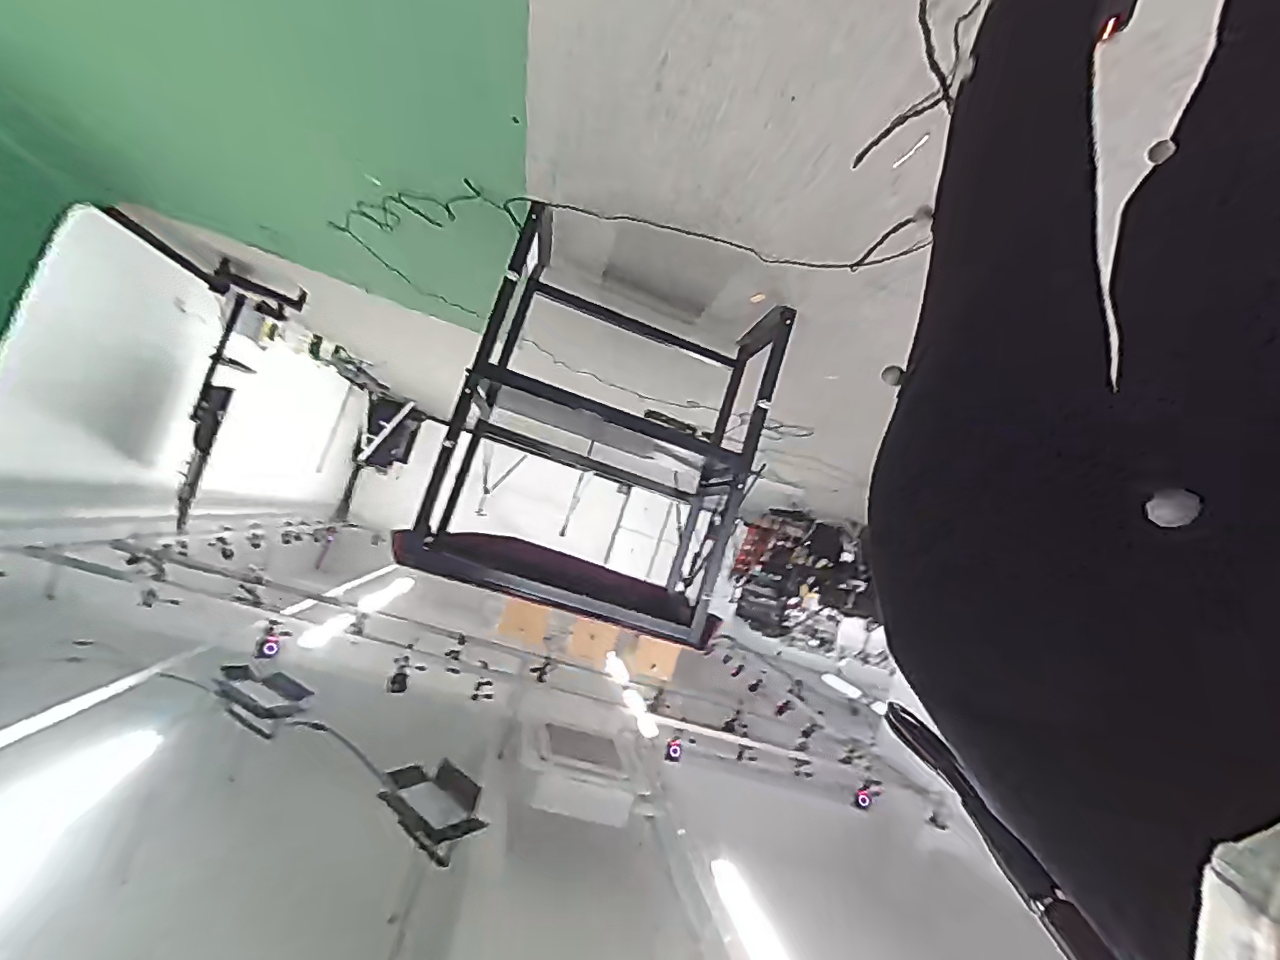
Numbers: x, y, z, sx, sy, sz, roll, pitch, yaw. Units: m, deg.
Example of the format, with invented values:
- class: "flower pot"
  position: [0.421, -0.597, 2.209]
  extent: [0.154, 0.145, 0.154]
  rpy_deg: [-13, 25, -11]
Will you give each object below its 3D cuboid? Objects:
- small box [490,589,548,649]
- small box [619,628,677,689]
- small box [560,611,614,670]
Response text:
- class: "small box"
  position: [-0.471, 0.535, 2.105]
  extent: [0.179, 0.176, 0.168]
  rpy_deg: [19, 174, -11]
- class: "small box"
  position: [0.032, 0.721, 2.200]
  extent: [0.179, 0.176, 0.168]
  rpy_deg: [21, 173, -8]
- class: "small box"
  position: [-0.210, 0.632, 2.155]
  extent: [0.168, 0.176, 0.179]
  rpy_deg: [20, 173, -10]
